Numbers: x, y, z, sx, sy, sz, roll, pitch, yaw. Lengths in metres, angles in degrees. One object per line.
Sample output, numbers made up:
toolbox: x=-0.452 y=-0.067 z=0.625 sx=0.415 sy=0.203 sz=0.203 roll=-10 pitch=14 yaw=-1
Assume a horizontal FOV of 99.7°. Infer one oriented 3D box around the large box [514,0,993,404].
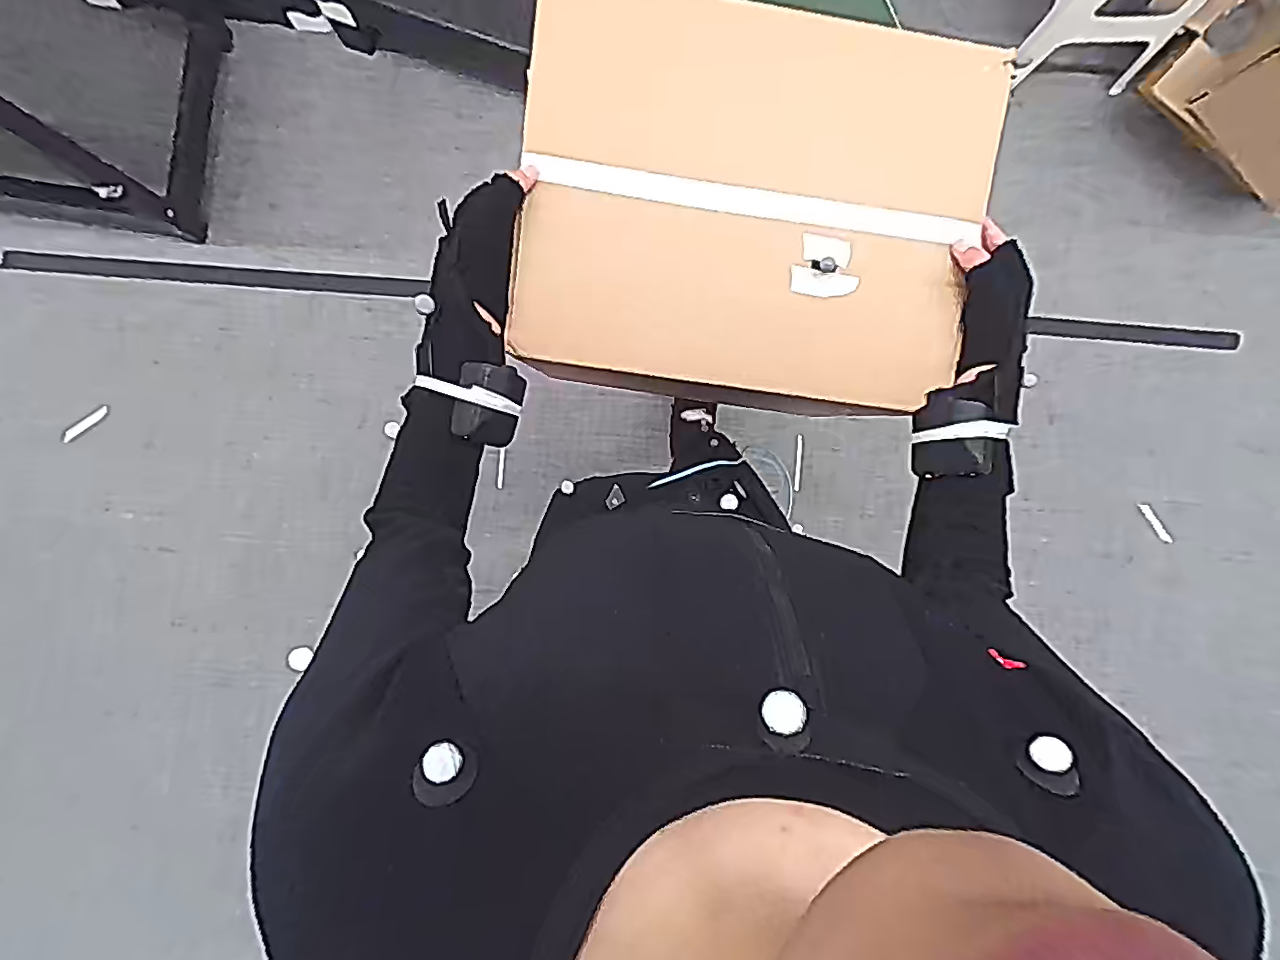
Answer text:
large box: x=0.090 y=-0.269 z=0.630 sx=0.408 sy=0.320 sz=0.320 roll=8 pitch=98 yaw=-4
